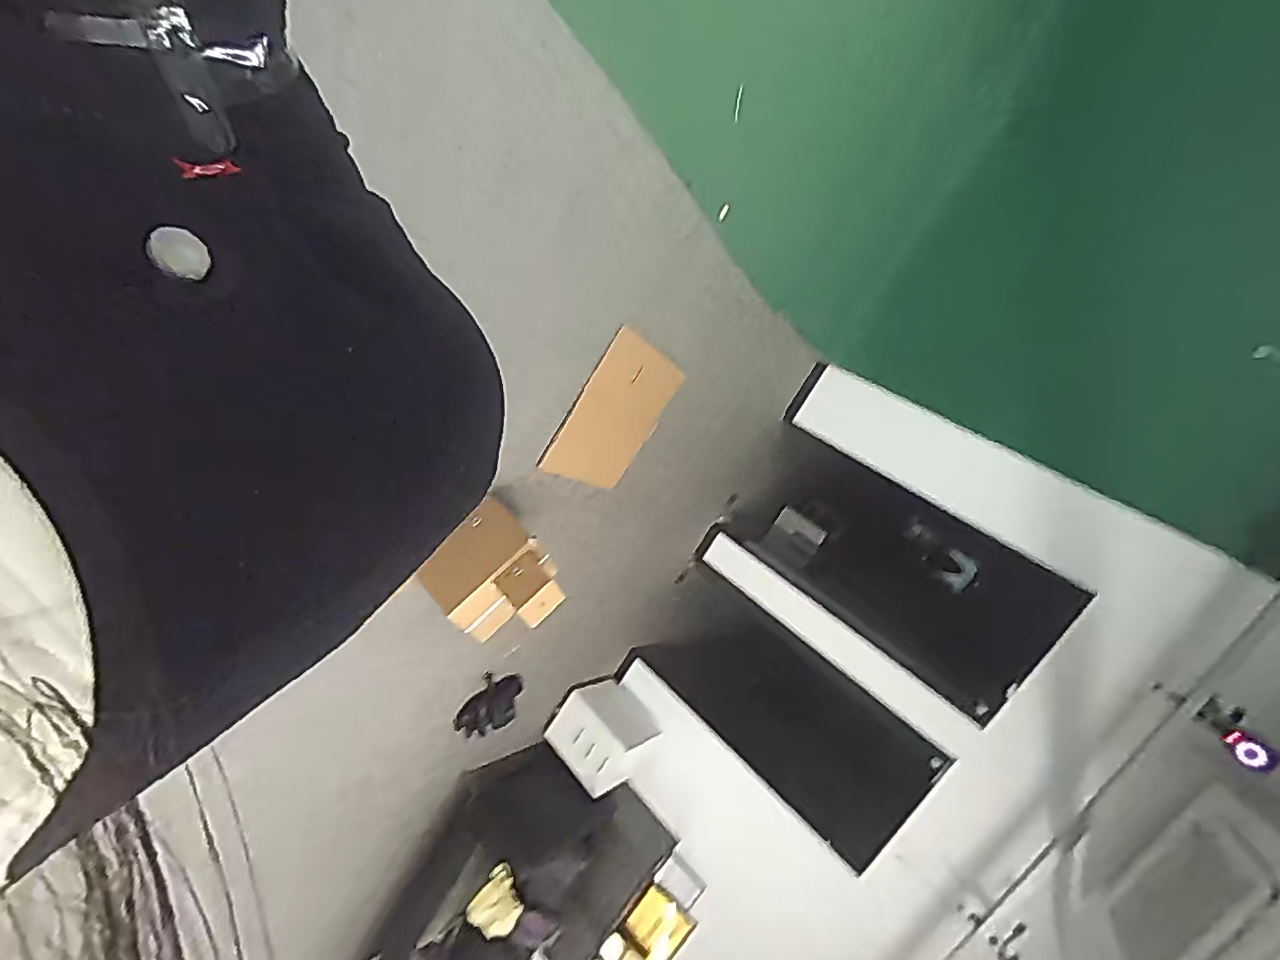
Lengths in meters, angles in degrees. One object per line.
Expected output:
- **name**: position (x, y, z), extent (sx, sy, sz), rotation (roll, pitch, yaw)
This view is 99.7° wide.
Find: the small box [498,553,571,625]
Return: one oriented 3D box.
- **small box**: position (-0.388, 0.397, 1.990), extent (0.168, 0.176, 0.179), rotation (-44, 147, -18)
